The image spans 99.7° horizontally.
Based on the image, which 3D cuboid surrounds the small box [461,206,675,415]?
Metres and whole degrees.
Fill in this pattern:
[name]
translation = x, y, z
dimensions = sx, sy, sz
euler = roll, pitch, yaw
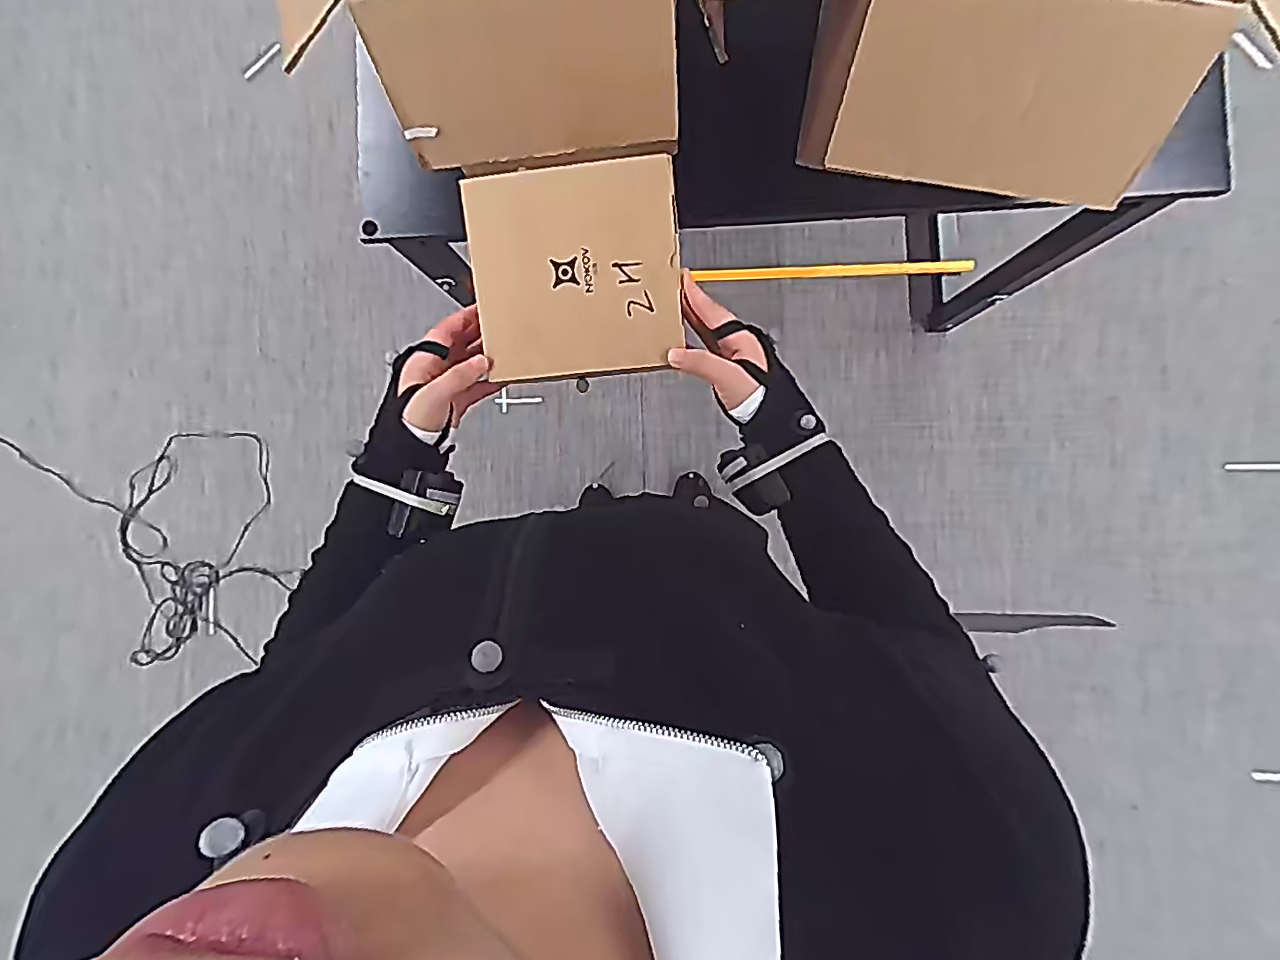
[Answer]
[small box]
translation = -0.056, -0.156, 0.543
dimensions = 0.179, 0.176, 0.168
euler = -4, 101, 3
